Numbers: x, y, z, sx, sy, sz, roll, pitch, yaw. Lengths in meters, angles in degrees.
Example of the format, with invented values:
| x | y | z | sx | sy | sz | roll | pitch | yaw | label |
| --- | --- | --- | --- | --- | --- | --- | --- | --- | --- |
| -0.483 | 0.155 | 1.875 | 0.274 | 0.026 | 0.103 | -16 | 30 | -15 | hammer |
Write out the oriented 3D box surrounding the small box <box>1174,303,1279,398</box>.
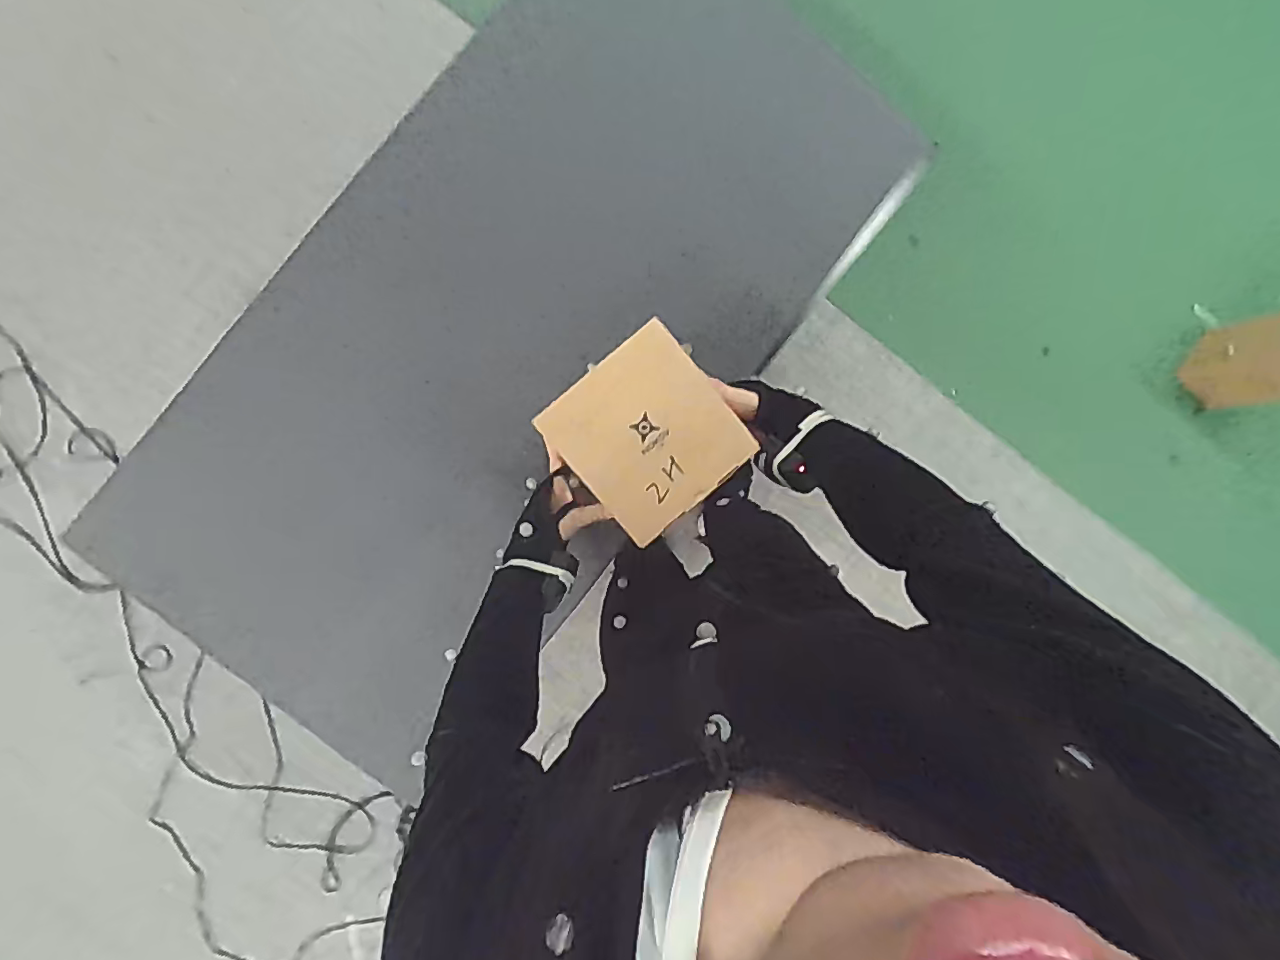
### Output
| x | y | z | sx | sy | sz | roll | pitch | yaw | label |
| --- | --- | --- | --- | --- | --- | --- | --- | --- | --- |
| 1.657 | -0.350 | 1.494 | 0.168 | 0.176 | 0.179 | 39 | 90 | -3 | small box |

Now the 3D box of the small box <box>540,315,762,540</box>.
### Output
| x | y | z | sx | sy | sz | roll | pitch | yaw | label |
| --- | --- | --- | --- | --- | --- | --- | --- | --- | --- |
| 0.006 | -0.057 | 0.630 | 0.168 | 0.176 | 0.179 | -39 | 96 | -1 | small box |
